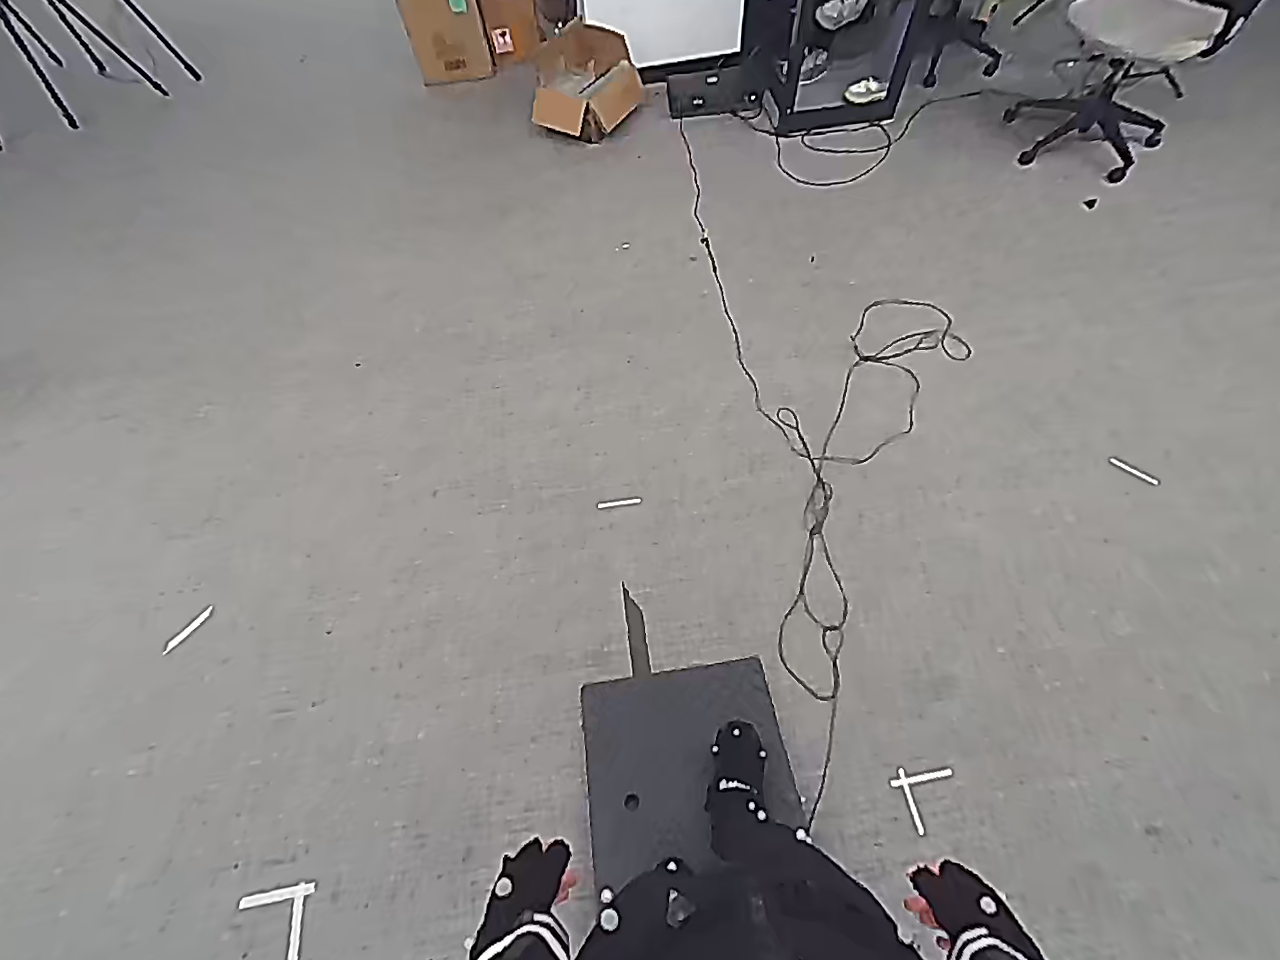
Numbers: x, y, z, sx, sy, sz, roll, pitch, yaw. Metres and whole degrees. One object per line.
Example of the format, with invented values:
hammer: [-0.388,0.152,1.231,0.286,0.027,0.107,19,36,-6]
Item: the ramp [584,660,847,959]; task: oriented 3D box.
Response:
ramp: [0.155,0.905,1.146,0.509,0.206,0.991,-11,60,-1]
